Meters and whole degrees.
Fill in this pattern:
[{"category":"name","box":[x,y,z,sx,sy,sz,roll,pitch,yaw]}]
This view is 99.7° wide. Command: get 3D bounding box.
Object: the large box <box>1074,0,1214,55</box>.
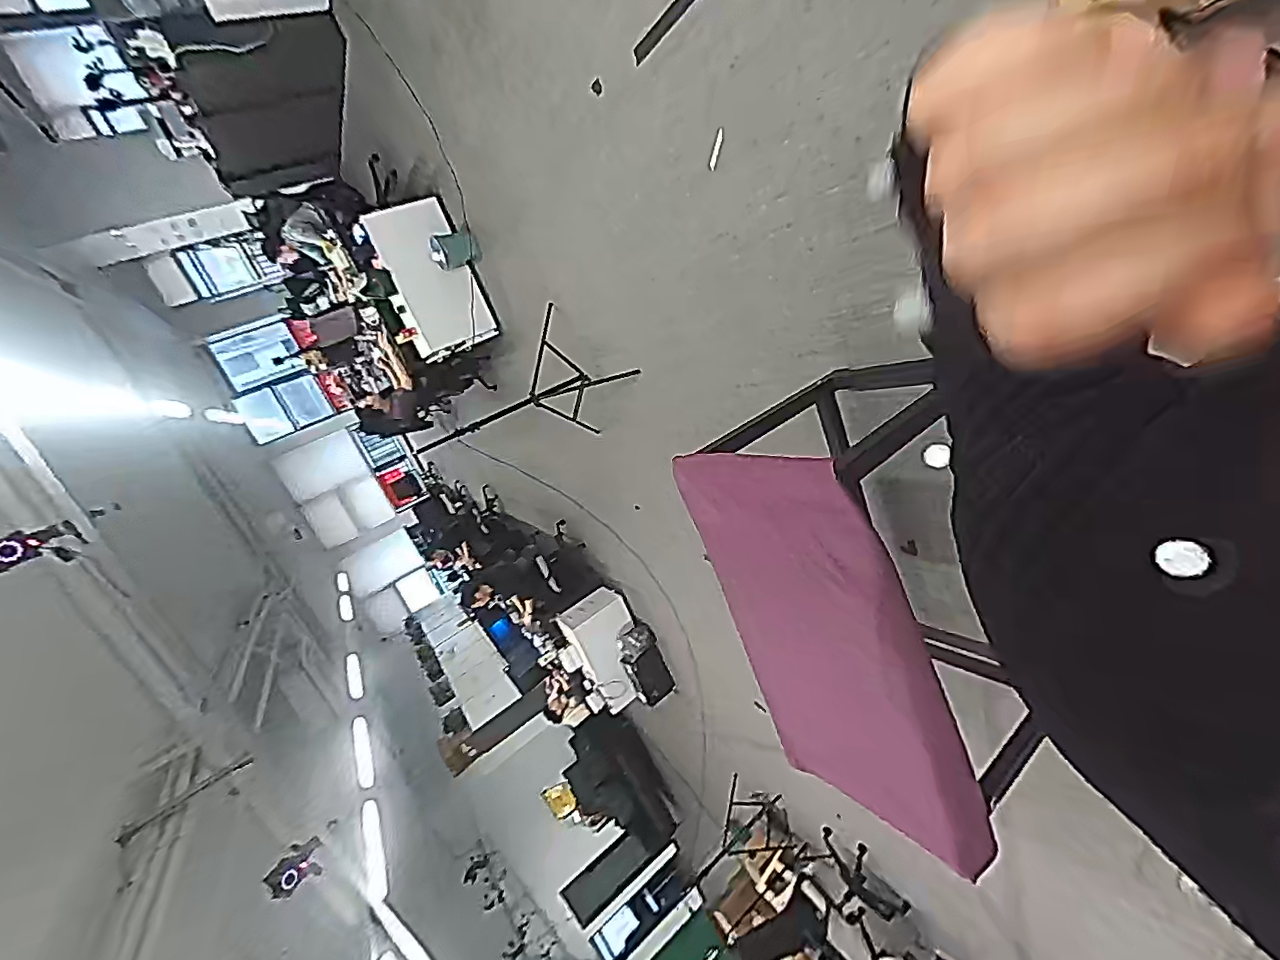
[{"category":"large box","box":[0.794,-0.896,0.715,0.320,0.320,0.408,3,122,62]}]
